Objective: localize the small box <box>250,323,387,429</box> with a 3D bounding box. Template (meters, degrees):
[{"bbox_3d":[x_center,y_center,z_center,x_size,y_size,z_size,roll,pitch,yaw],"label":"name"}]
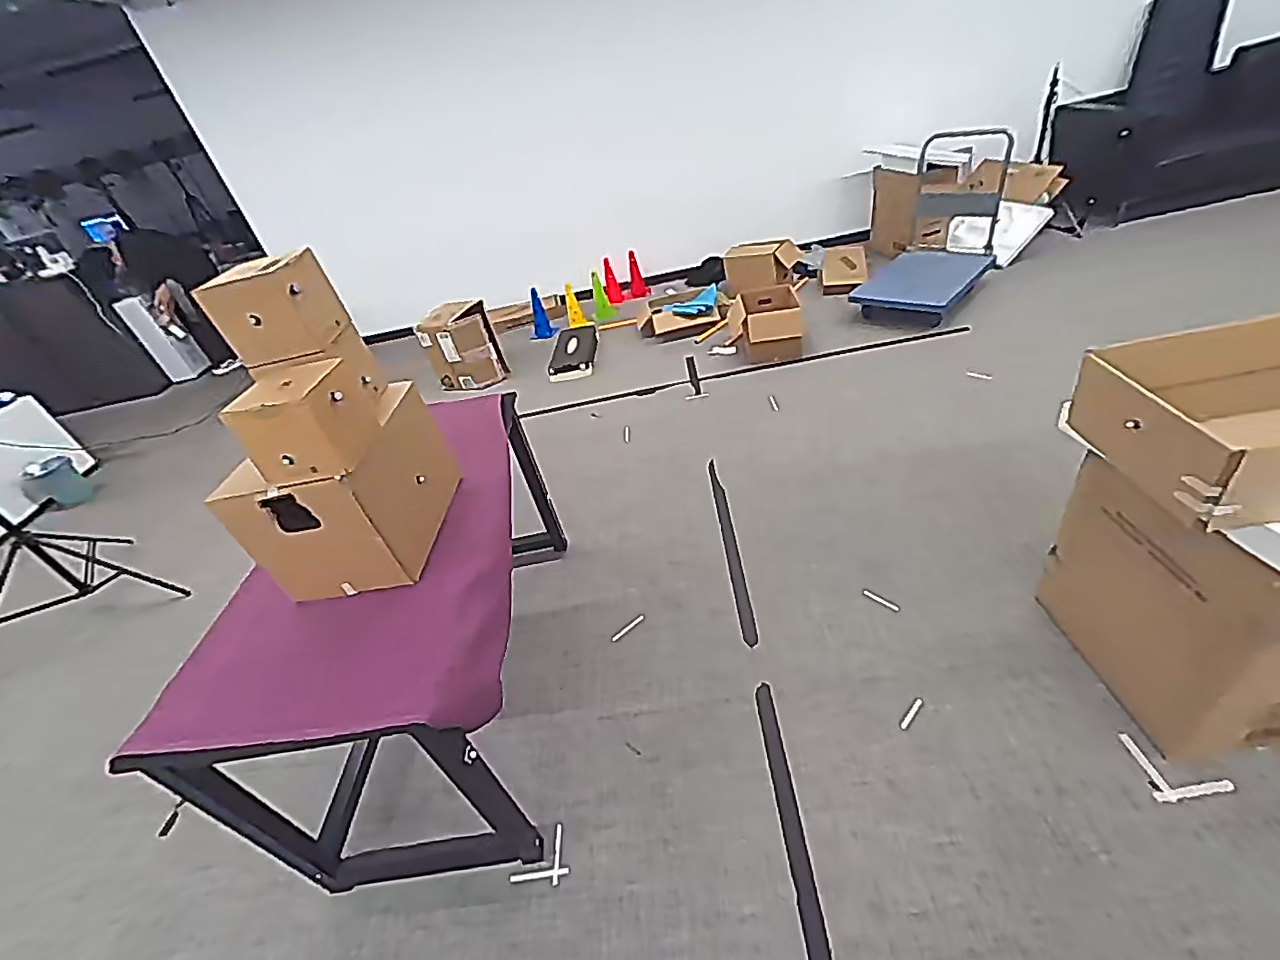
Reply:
[{"bbox_3d":[-0.721,-0.233,1.234,0.179,0.176,0.168,-10,38,6],"label":"small box"}]

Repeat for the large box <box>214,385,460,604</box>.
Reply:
[{"bbox_3d":[-0.670,0.026,1.292,0.320,0.320,0.408,-11,38,7],"label":"large box"}]
